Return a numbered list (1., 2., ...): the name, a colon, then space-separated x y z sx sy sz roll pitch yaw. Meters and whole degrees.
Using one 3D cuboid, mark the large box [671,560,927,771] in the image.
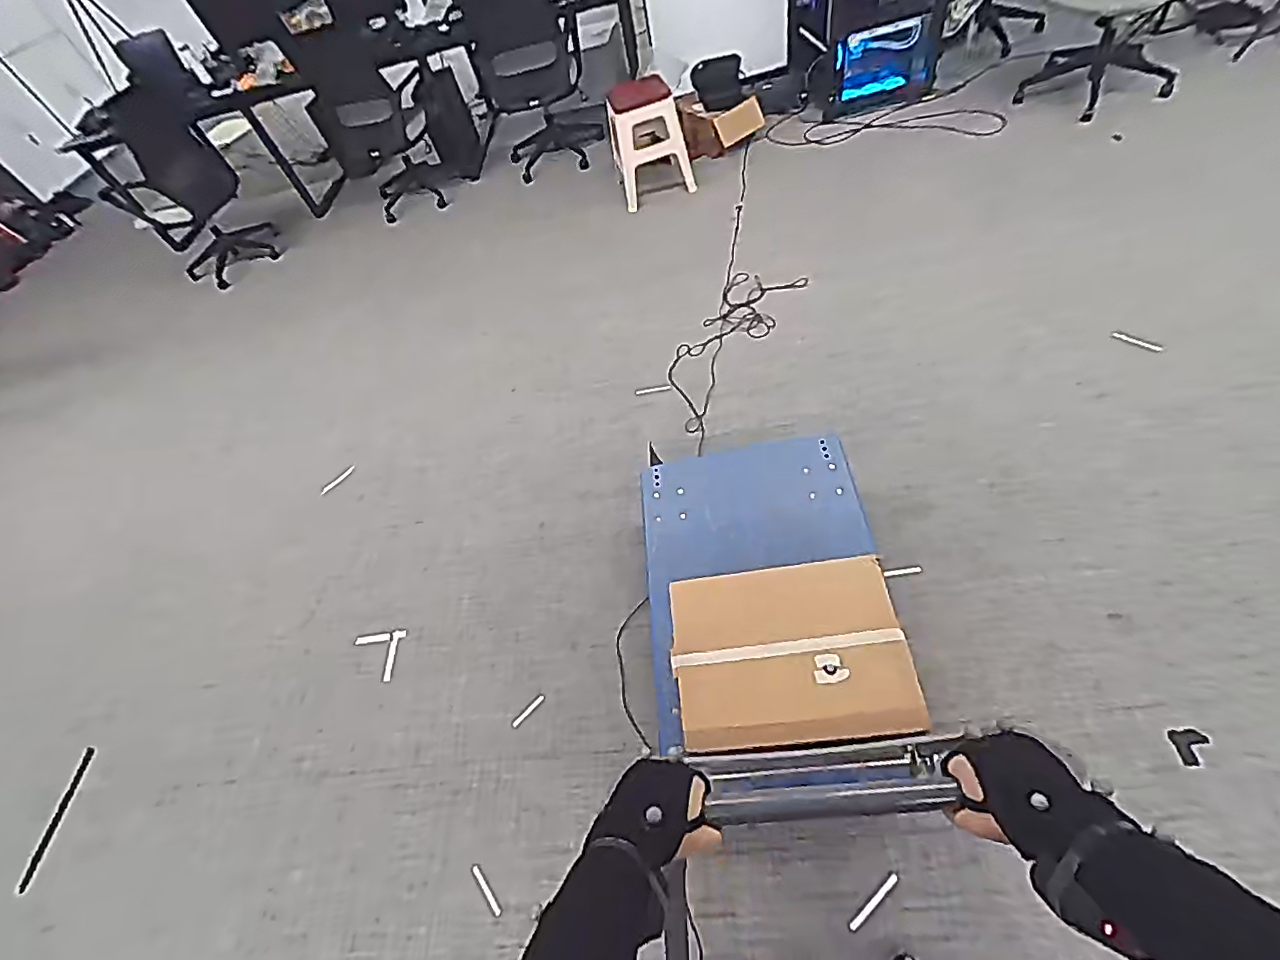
1. large box: 0.296 0.394 1.113 0.408 0.320 0.320 -10 57 7
